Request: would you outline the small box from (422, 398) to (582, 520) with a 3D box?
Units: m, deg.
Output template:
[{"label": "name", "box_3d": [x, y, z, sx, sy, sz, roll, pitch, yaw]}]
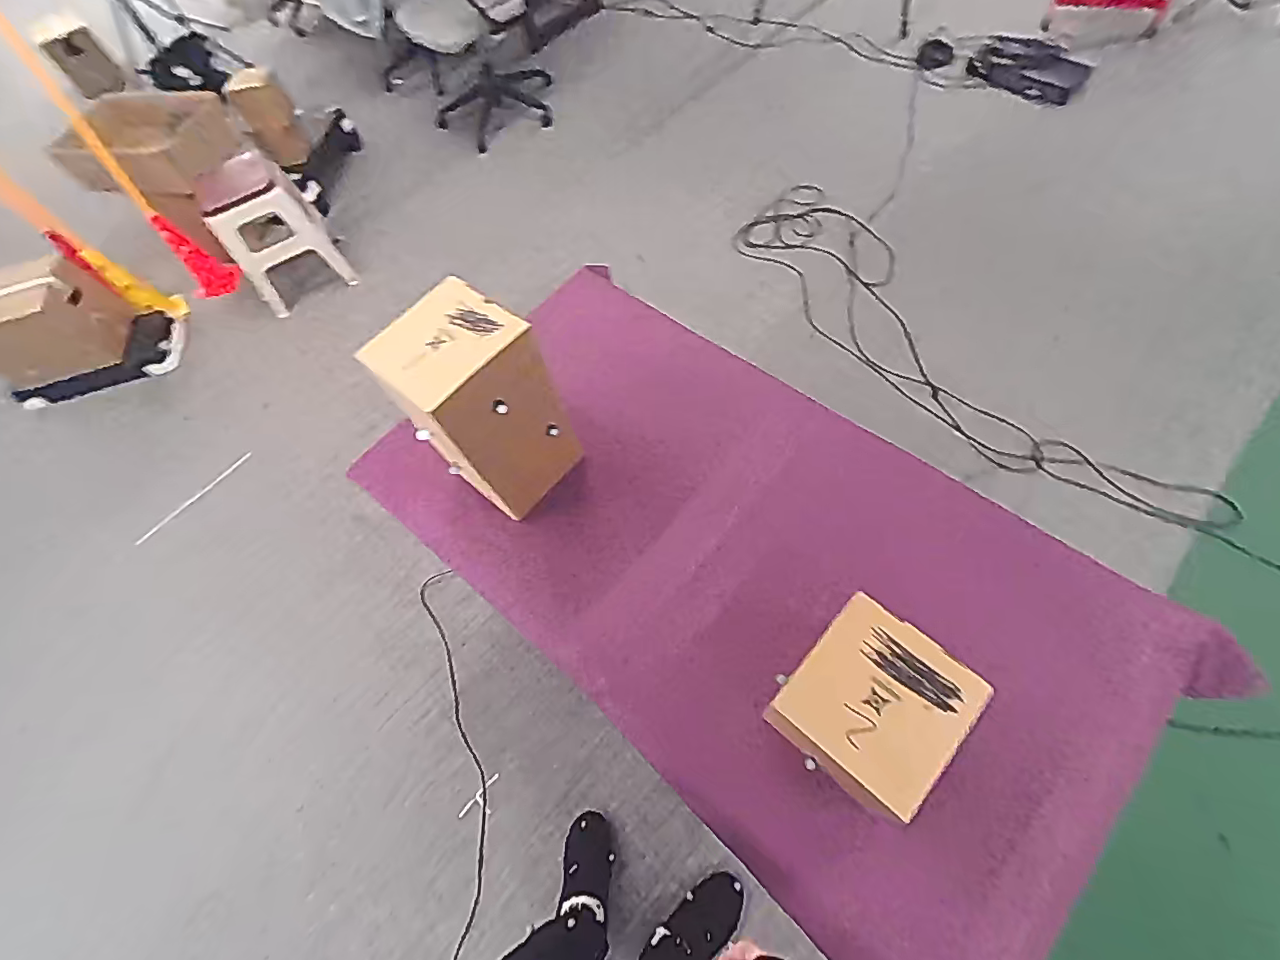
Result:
[{"label": "small box", "box_3d": [-0.221, -0.062, 0.918, 0.168, 0.176, 0.179, 35, 72, 24]}]

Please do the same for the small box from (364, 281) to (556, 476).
[{"label": "small box", "box_3d": [-0.240, -0.141, 0.775, 0.168, 0.176, 0.179, 36, 73, 24]}]
